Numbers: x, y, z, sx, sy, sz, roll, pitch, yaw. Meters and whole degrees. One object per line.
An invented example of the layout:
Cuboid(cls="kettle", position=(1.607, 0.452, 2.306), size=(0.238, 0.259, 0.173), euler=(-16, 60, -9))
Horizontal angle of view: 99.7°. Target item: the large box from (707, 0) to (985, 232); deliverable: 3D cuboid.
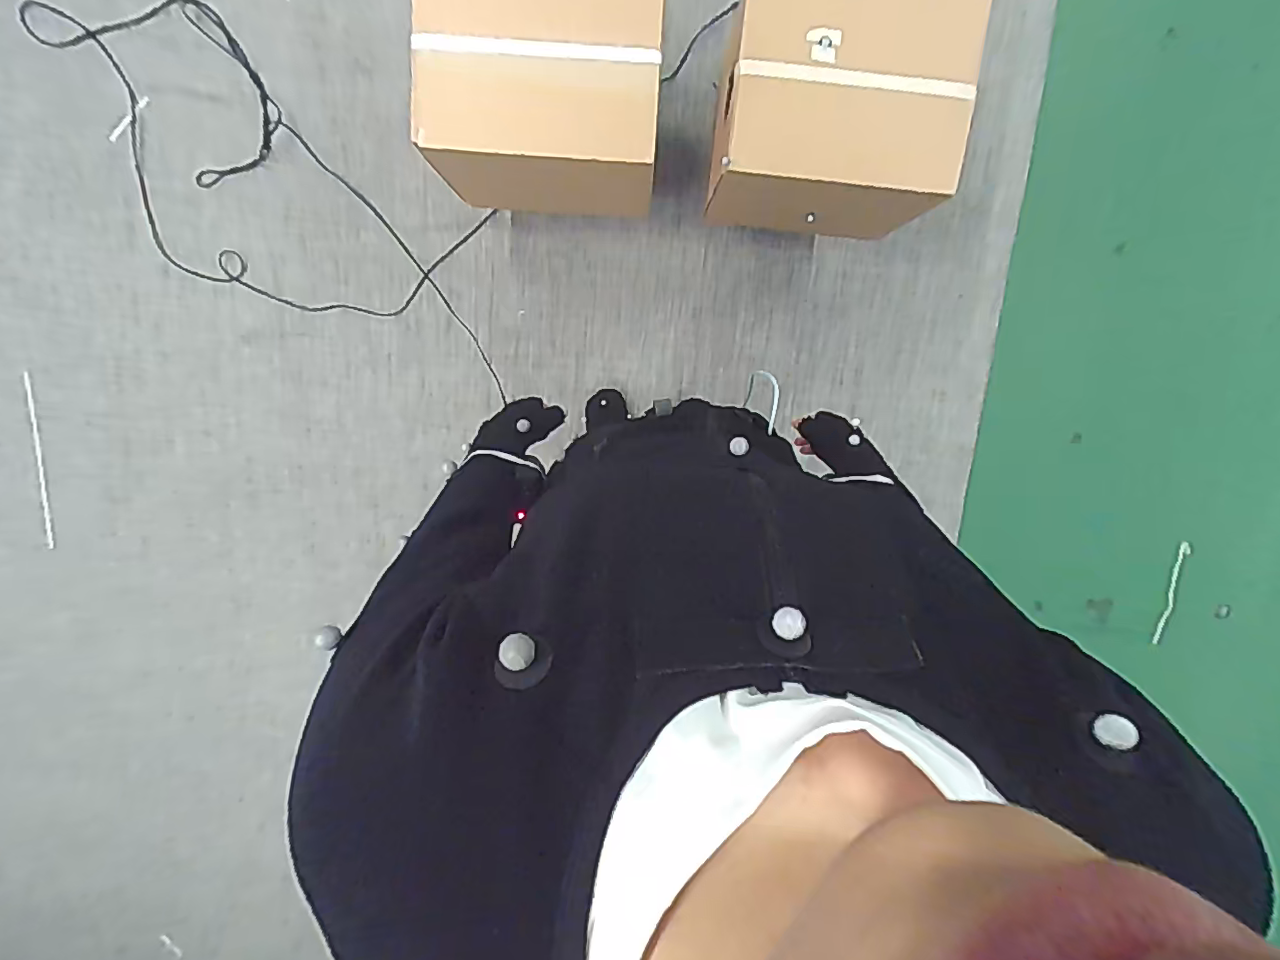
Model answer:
Cuboid(cls="large box", position=(0.363, -0.700, 1.061), size=(0.408, 0.320, 0.320), euler=(5, 100, -1))
